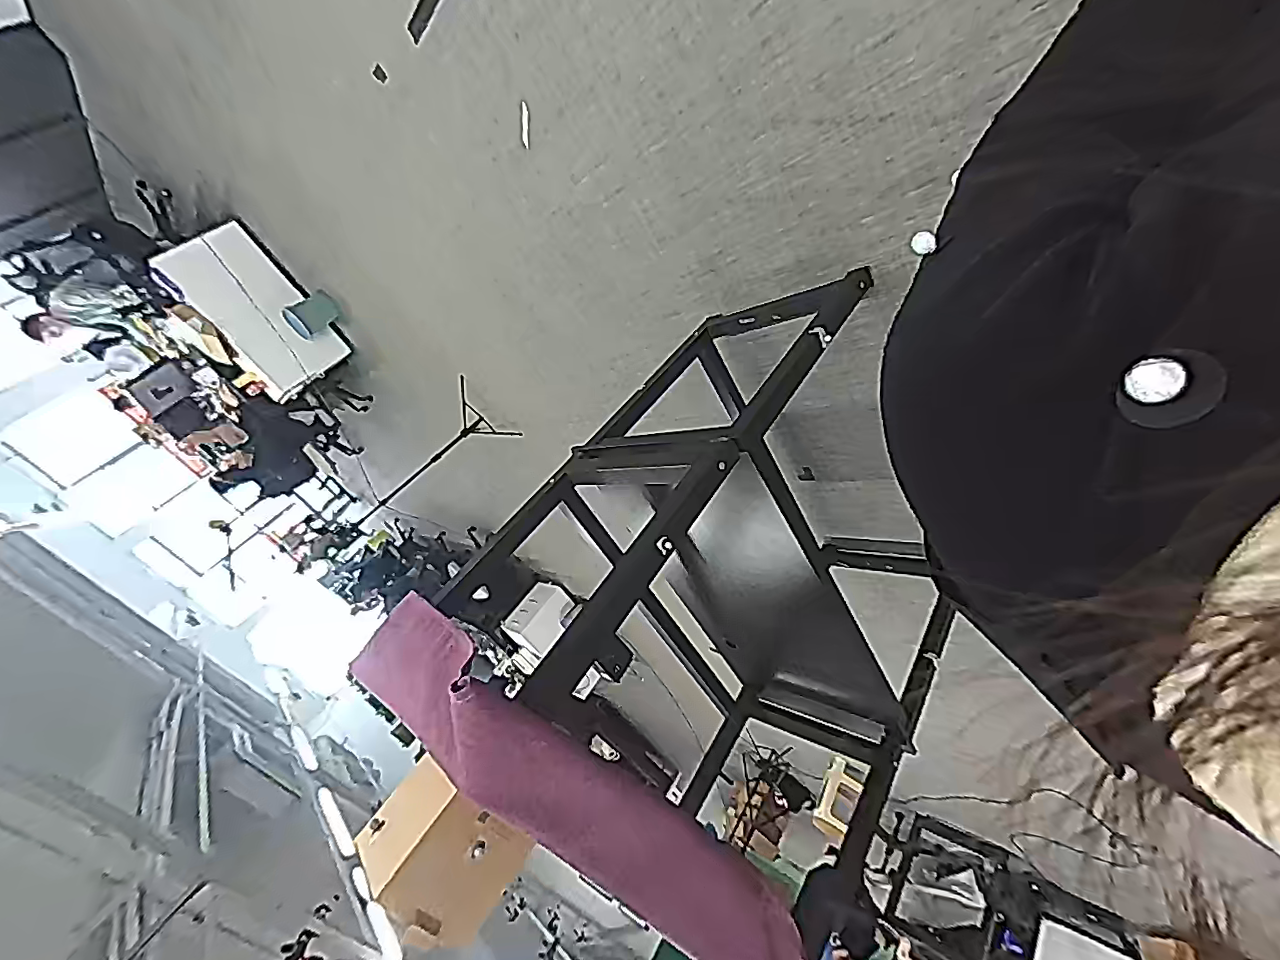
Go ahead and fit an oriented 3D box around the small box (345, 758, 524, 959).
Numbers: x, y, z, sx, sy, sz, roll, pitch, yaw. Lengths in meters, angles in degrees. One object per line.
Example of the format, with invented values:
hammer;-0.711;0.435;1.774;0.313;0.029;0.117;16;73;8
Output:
small box;-0.306;0.555;0.817;0.168;0.176;0.179;51;150;-20
